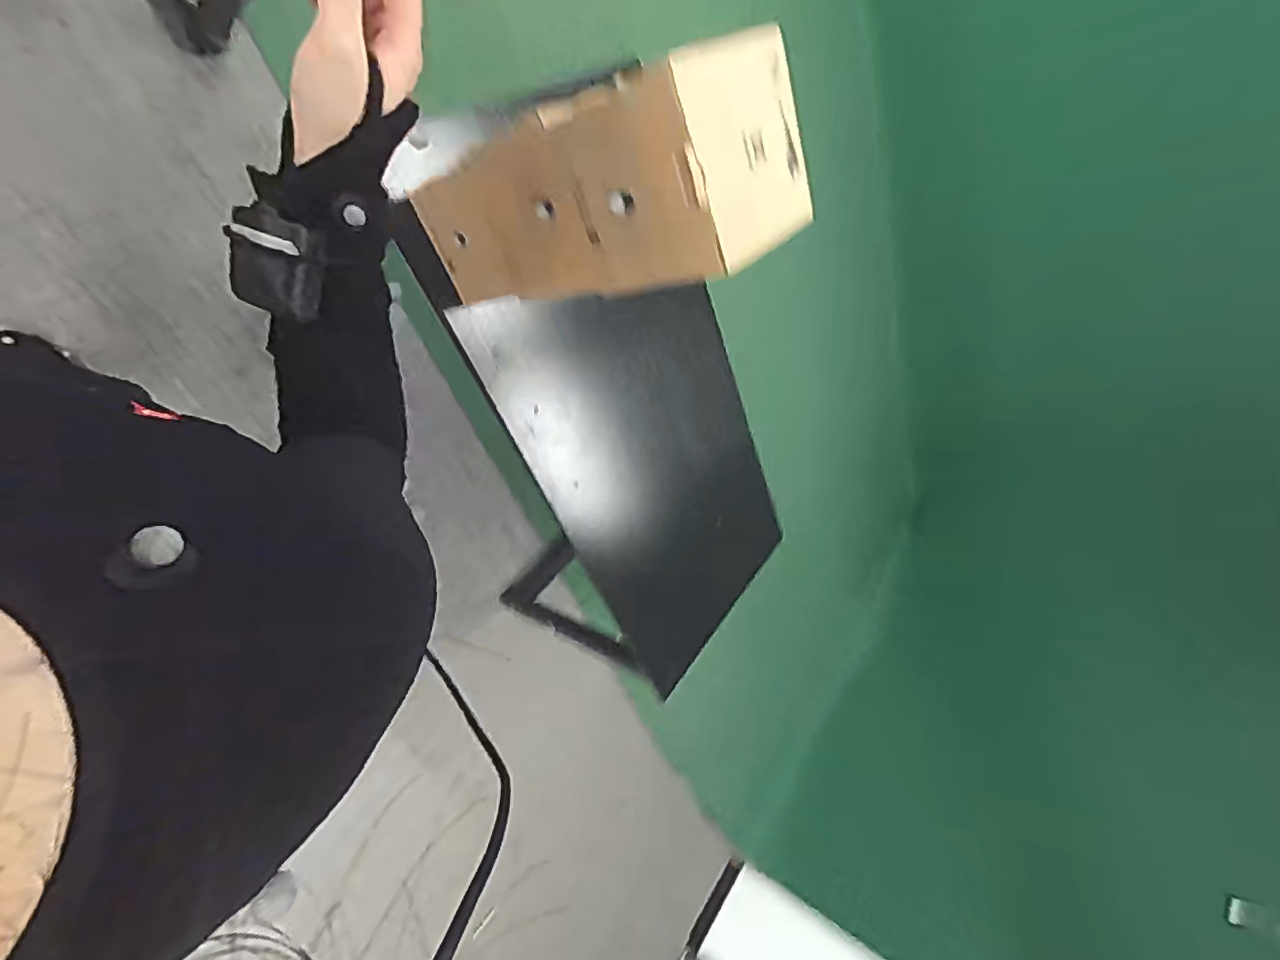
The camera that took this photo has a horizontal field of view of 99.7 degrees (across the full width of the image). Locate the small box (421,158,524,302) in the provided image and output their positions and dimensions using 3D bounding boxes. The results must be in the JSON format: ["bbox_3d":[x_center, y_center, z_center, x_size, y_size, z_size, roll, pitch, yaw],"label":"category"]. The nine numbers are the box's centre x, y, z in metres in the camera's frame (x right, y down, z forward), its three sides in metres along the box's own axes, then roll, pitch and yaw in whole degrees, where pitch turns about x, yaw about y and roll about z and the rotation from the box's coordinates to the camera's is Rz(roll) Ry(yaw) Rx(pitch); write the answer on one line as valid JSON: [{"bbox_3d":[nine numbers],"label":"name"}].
[{"bbox_3d":[-0.182,-0.365,0.768,0.179,0.176,0.168,-43,126,-32],"label":"small box"}]

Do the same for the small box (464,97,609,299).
[{"bbox_3d":[-0.075,-0.329,0.650,0.168,0.176,0.179,-42,125,-32],"label":"small box"}]

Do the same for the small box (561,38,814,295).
[{"bbox_3d":[0.044,-0.299,0.540,0.179,0.176,0.168,-41,124,-32],"label":"small box"}]
